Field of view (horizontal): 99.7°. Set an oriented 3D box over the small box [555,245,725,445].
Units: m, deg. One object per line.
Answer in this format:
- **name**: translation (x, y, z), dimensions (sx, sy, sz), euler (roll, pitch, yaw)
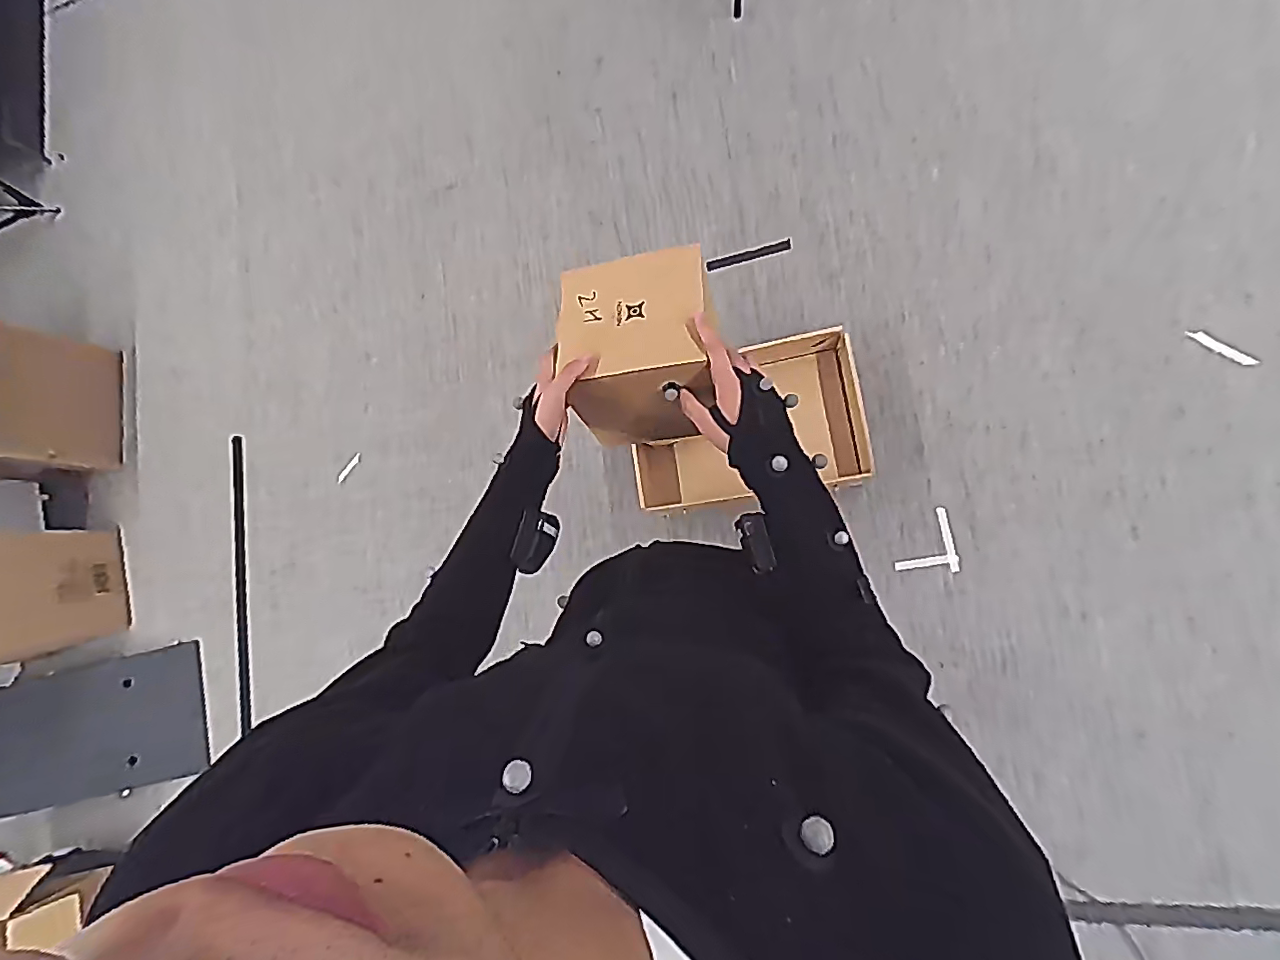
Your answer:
- **small box**: translation (0.012, -0.157, 0.680), dimensions (0.179, 0.176, 0.168), euler (-5, 66, 15)
